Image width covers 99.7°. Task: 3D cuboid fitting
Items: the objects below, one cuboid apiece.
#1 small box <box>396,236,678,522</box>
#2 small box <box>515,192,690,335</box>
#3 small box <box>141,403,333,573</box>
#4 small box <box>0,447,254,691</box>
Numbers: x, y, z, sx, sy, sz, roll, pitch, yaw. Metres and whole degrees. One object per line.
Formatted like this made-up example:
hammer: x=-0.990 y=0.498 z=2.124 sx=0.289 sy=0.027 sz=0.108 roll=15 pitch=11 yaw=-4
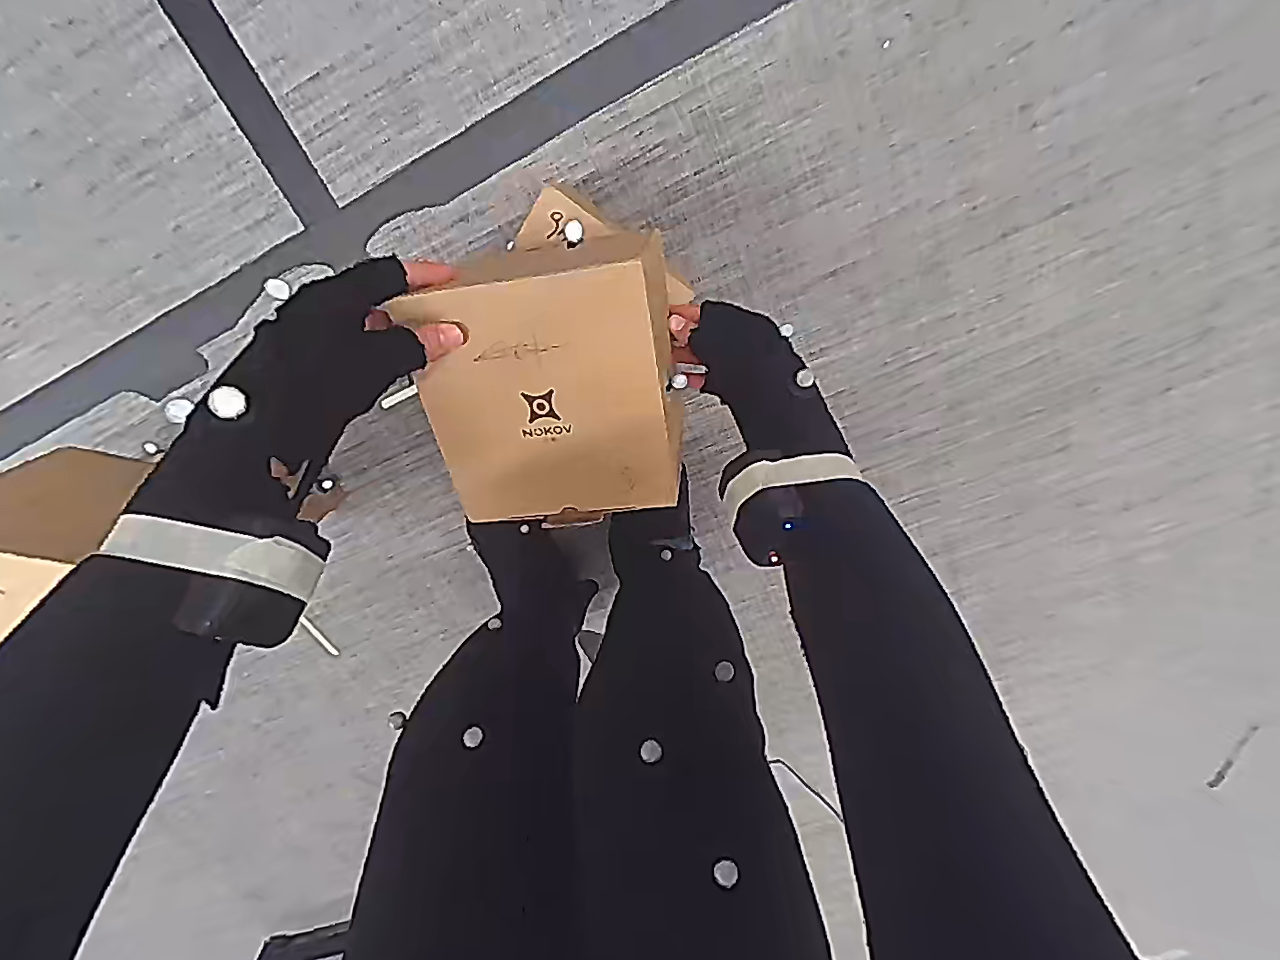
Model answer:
small box: x=-0.058 y=-0.086 z=0.443 sx=0.168 sy=0.176 sz=0.179 roll=-4 pitch=121 yaw=8
small box: x=-0.066 y=-0.189 z=0.599 sx=0.168 sy=0.176 sz=0.179 roll=32 pitch=113 yaw=-18
small box: x=-0.537 y=0.021 z=0.701 sx=0.179 sy=0.176 sz=0.168 roll=-19 pitch=116 yaw=10
small box: x=-0.540 y=0.089 z=0.547 sx=0.179 sy=0.176 sz=0.168 roll=12 pitch=117 yaw=-6
